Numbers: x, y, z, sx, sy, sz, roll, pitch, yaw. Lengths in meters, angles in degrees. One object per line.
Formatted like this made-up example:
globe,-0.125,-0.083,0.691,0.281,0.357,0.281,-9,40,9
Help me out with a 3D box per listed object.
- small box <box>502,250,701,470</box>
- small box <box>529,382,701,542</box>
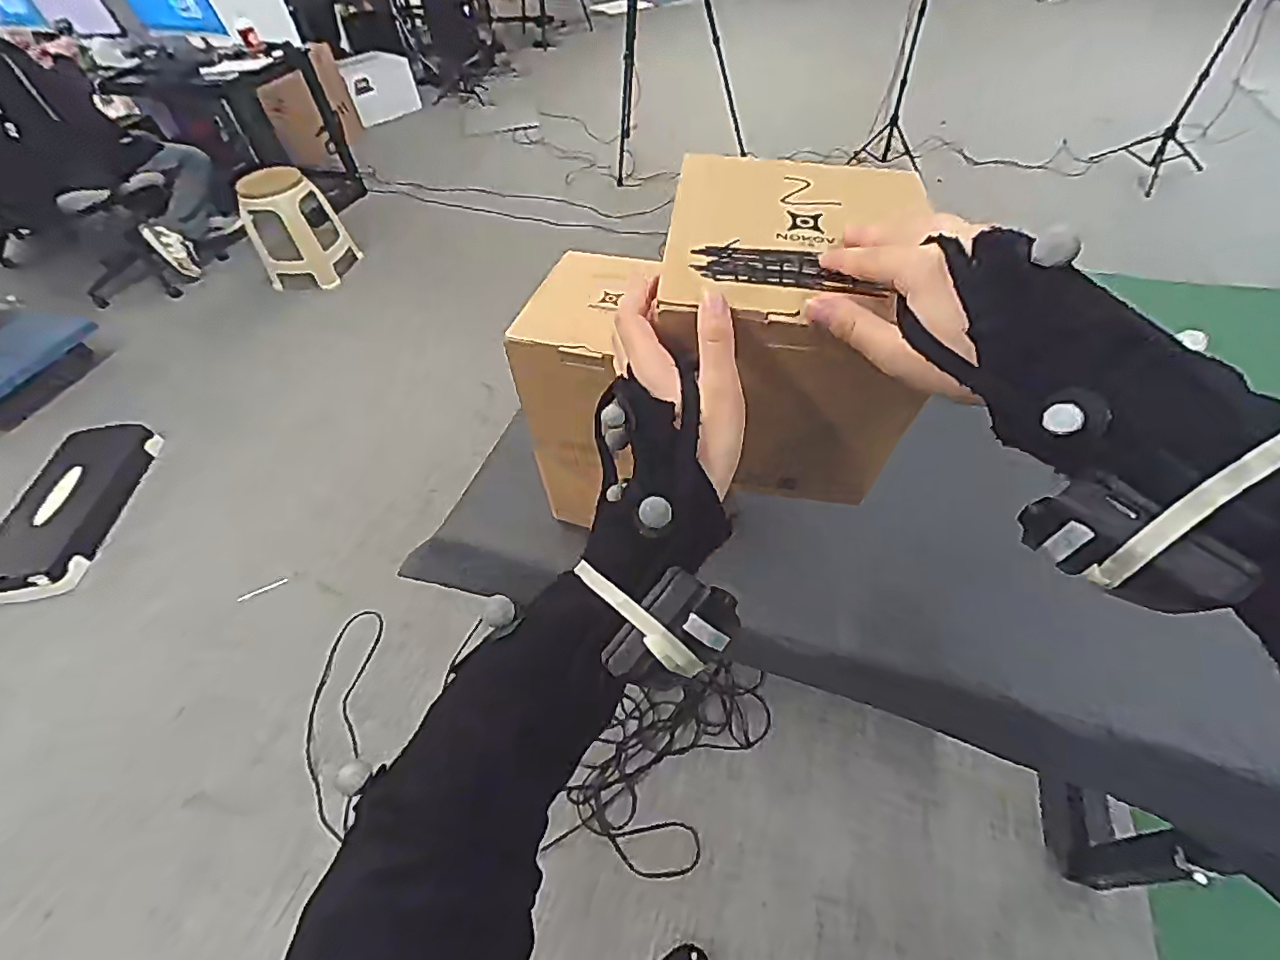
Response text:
small box,-0.031,-0.135,0.620,0.168,0.176,0.179,12,51,12
small box,-0.024,-0.037,0.750,0.179,0.176,0.168,16,53,16
